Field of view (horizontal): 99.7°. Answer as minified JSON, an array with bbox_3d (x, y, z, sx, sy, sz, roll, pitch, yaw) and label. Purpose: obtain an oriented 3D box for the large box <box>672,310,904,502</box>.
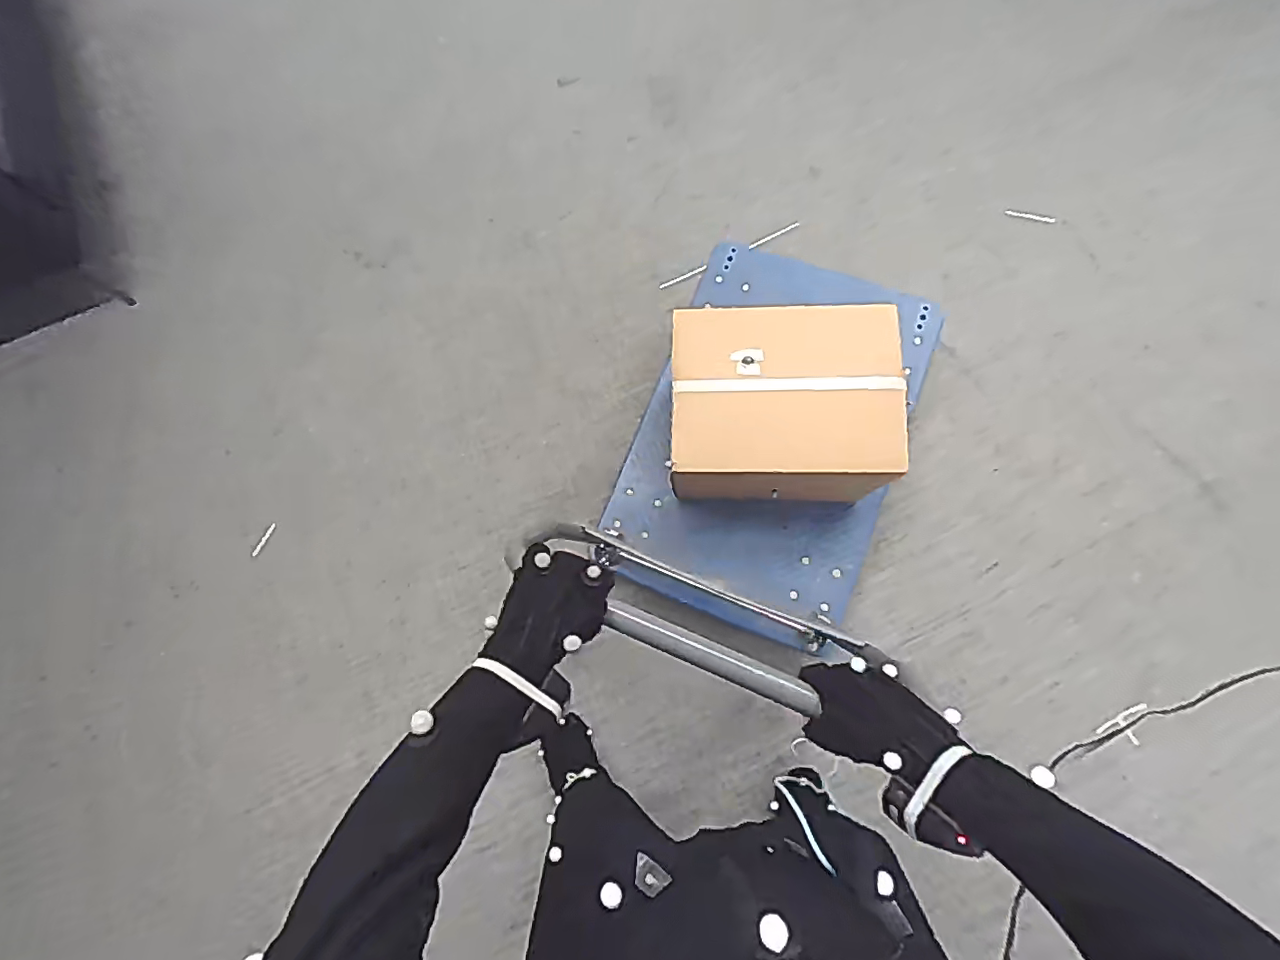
[{"bbox_3d":[0.276,-0.128,1.120,0.408,0.320,0.320,0,78,7],"label":"large box"}]
